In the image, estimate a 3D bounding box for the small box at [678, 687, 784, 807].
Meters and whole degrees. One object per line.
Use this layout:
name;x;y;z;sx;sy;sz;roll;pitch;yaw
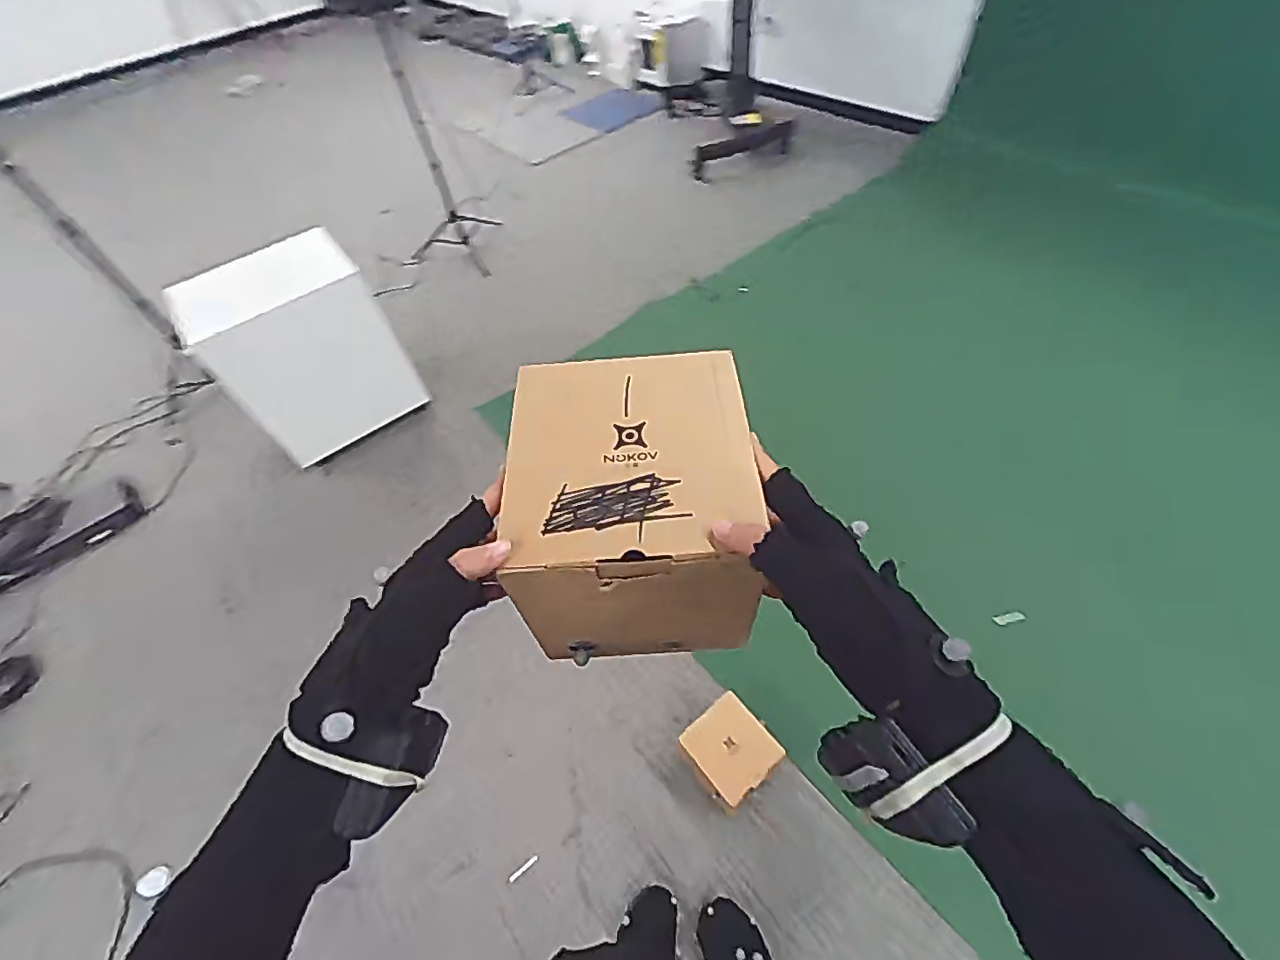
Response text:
small box;0.204;0.622;1.251;0.168;0.176;0.179;-35;58;-19
